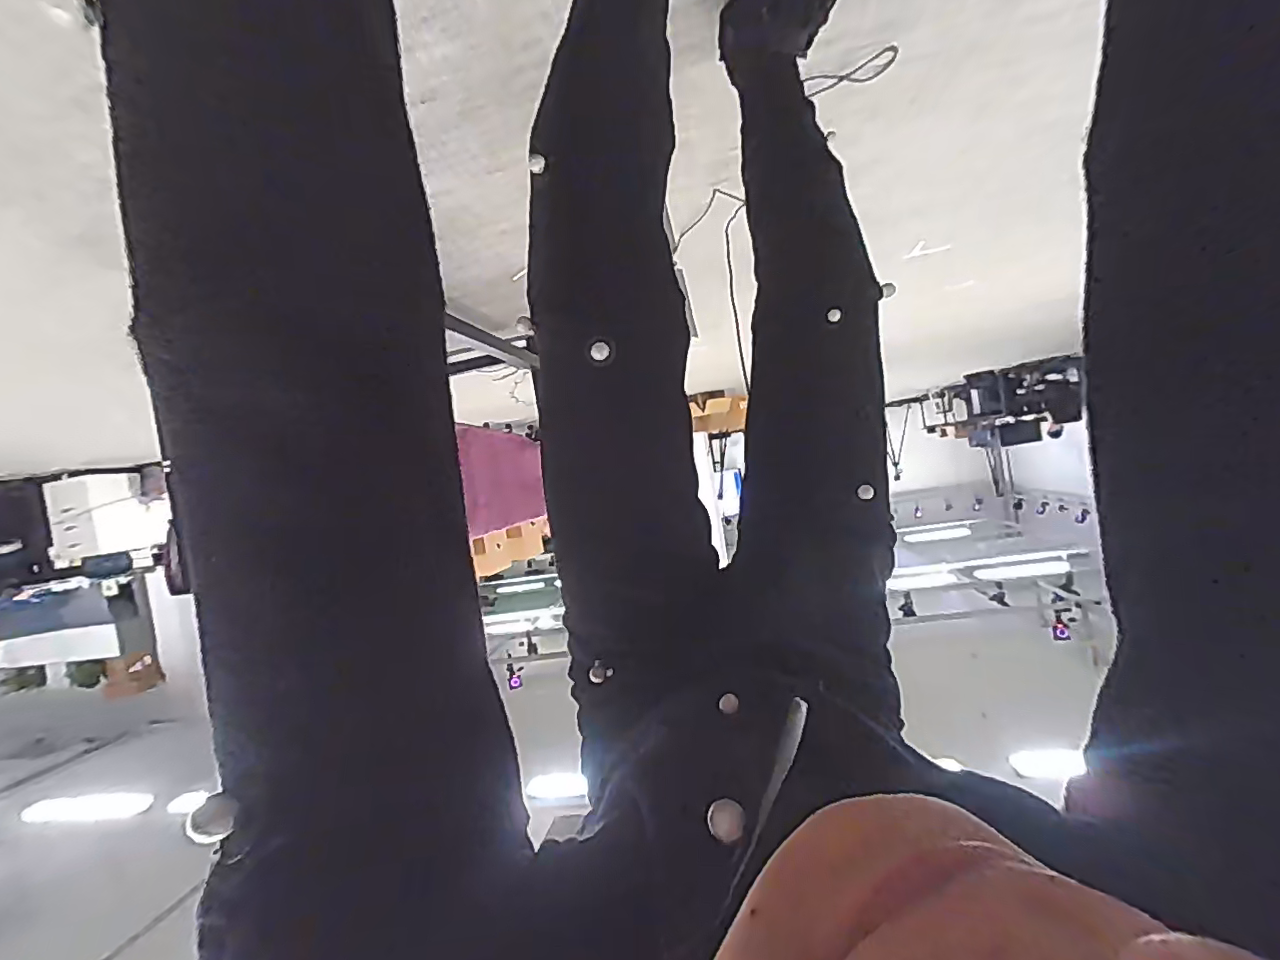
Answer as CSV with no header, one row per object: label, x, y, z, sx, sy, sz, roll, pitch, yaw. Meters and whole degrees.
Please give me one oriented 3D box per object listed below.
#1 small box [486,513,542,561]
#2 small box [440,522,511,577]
small box,-0.520,0.232,2.200,0.179,0.176,0.168,-9,-178,14
small box,-0.589,0.249,1.935,0.179,0.176,0.168,-9,-179,12
